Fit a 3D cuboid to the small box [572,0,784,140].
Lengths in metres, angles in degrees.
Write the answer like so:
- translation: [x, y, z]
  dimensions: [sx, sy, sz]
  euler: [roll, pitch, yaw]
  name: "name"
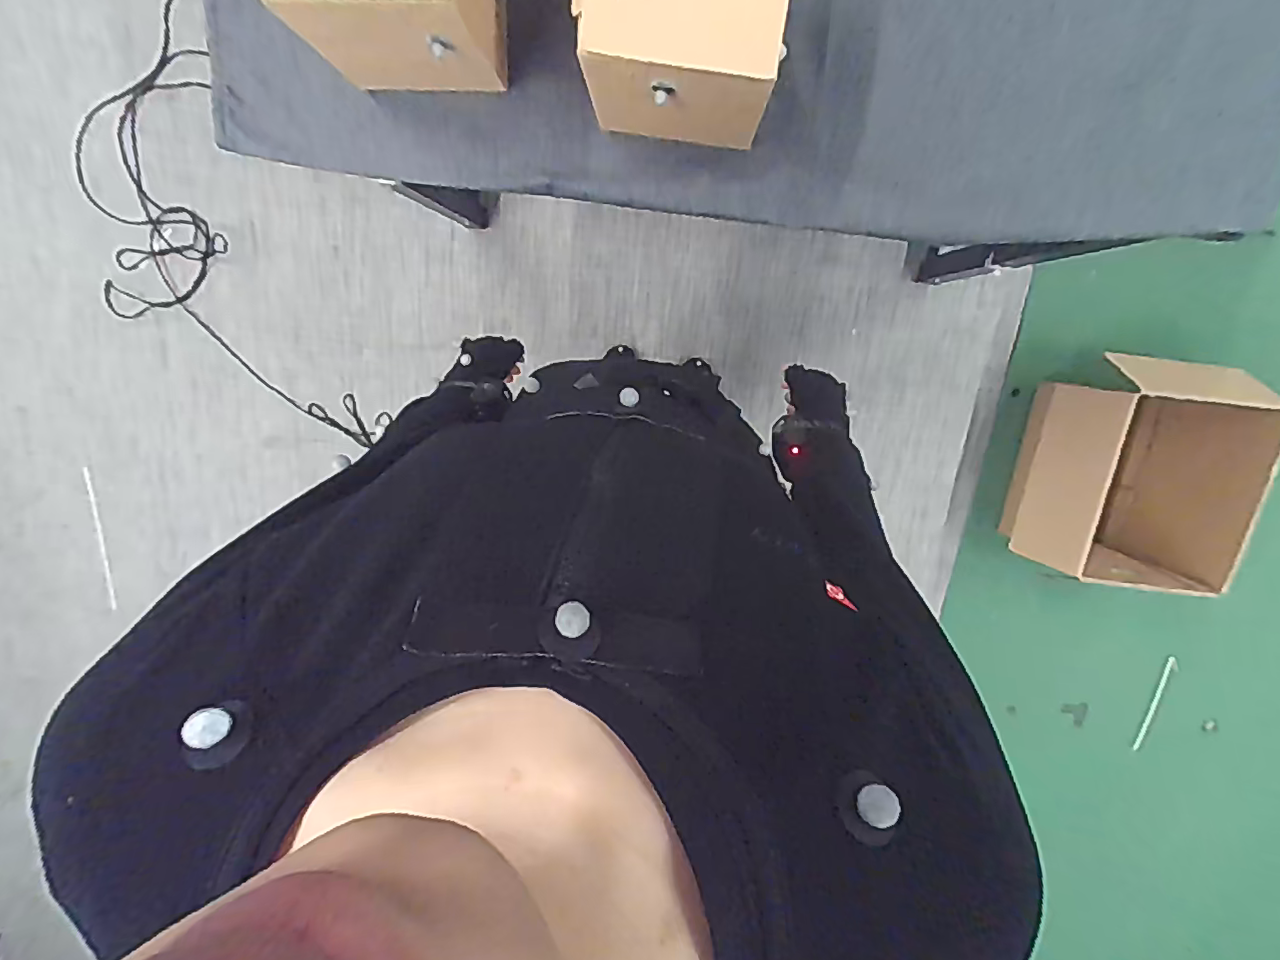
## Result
- translation: [0.043, -0.454, 0.520]
  dimensions: [0.179, 0.176, 0.168]
  euler: [8, 105, 1]
  name: "small box"
